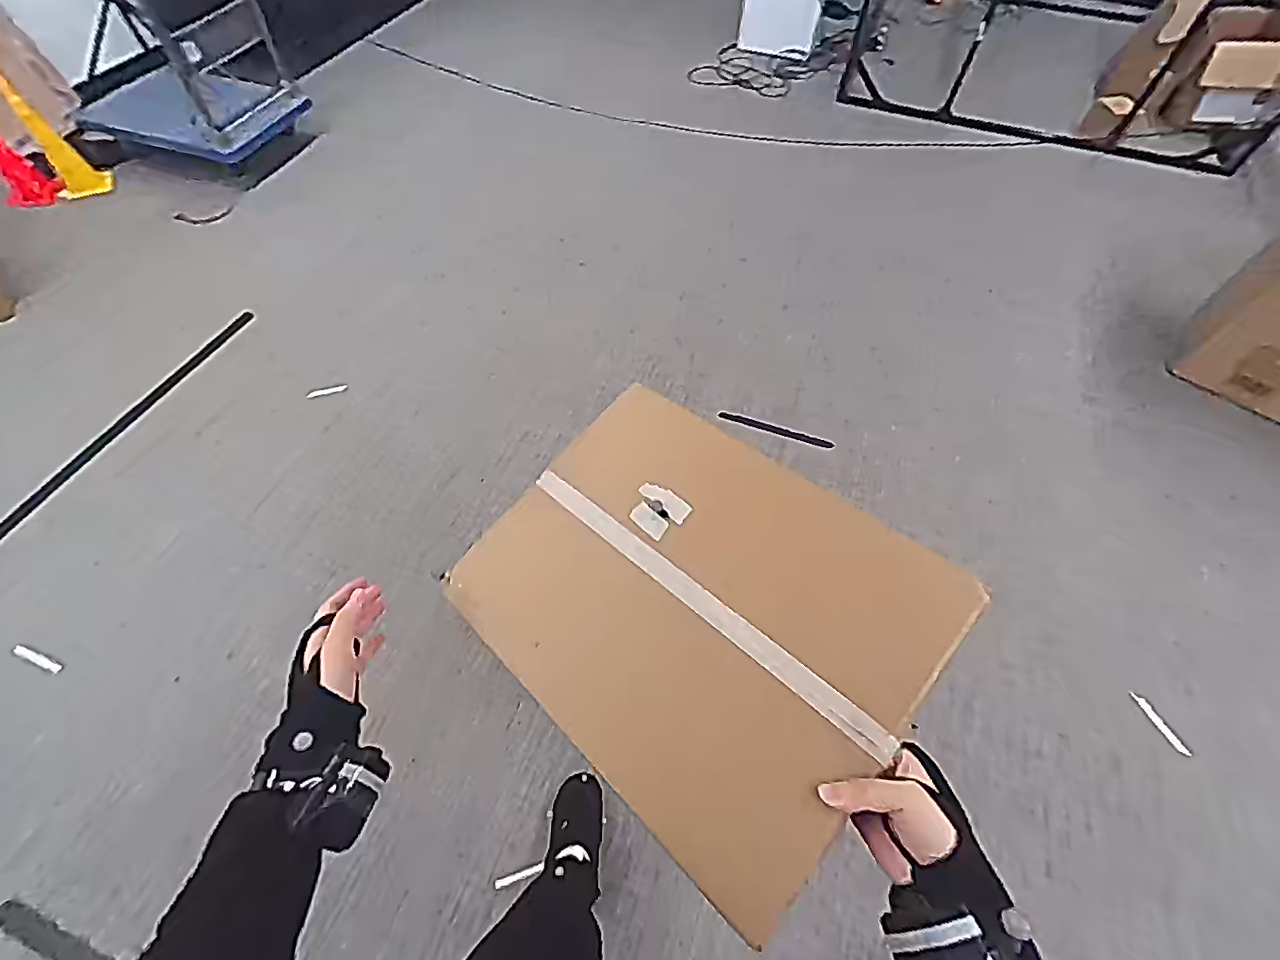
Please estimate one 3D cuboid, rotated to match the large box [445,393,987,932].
[{"bbox_3d":[0.077,0.175,0.612,0.408,0.320,0.320,35,73,31],"label":"large box"}]
